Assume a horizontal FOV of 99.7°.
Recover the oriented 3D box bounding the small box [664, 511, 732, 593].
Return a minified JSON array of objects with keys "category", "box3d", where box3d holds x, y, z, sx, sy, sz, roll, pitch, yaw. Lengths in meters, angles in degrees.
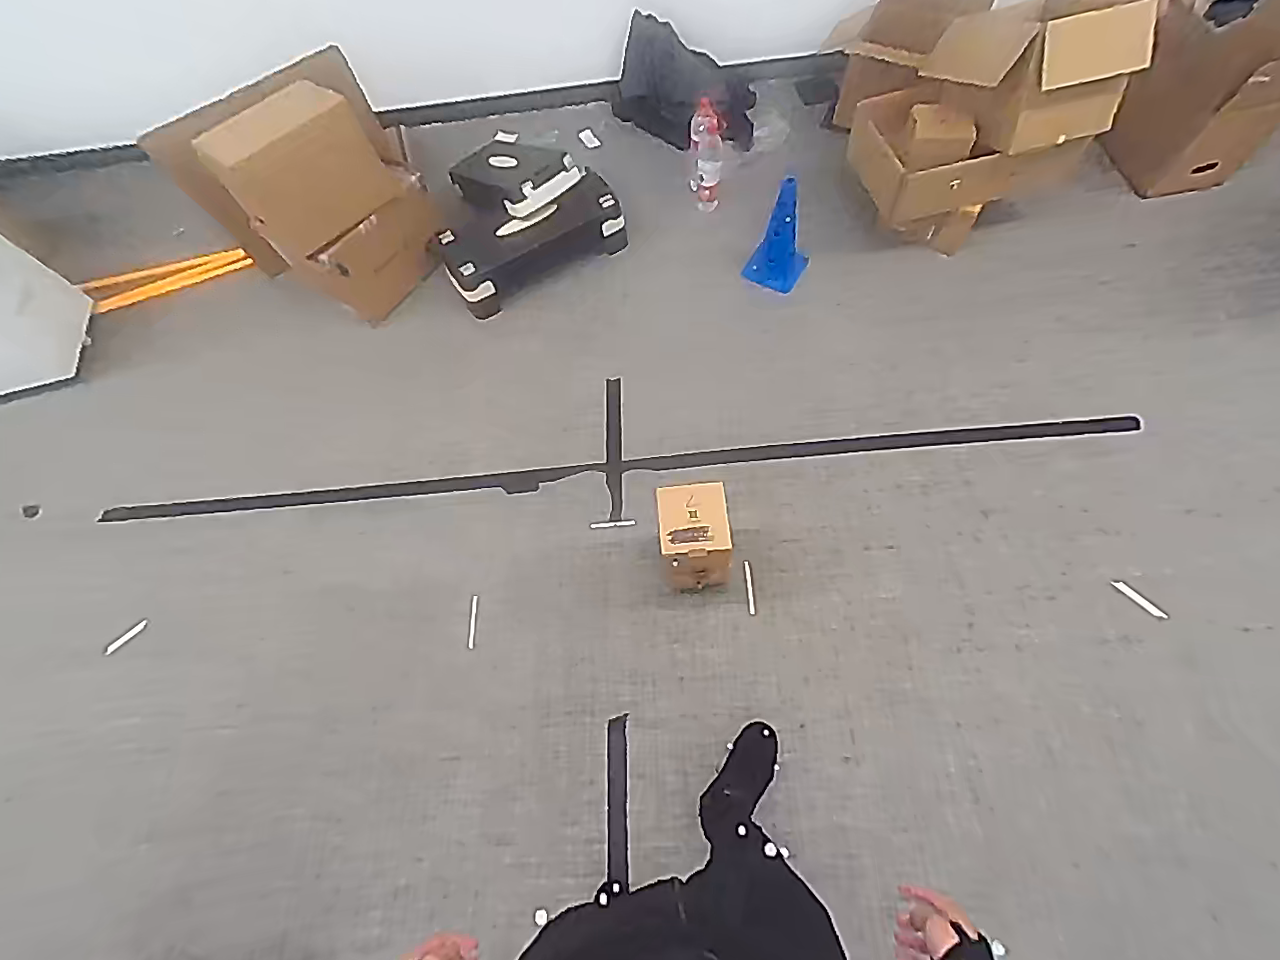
[{"category":"small box","box3d":[0.158,0.204,1.506,0.168,0.176,0.179,-7,66,3]}]
